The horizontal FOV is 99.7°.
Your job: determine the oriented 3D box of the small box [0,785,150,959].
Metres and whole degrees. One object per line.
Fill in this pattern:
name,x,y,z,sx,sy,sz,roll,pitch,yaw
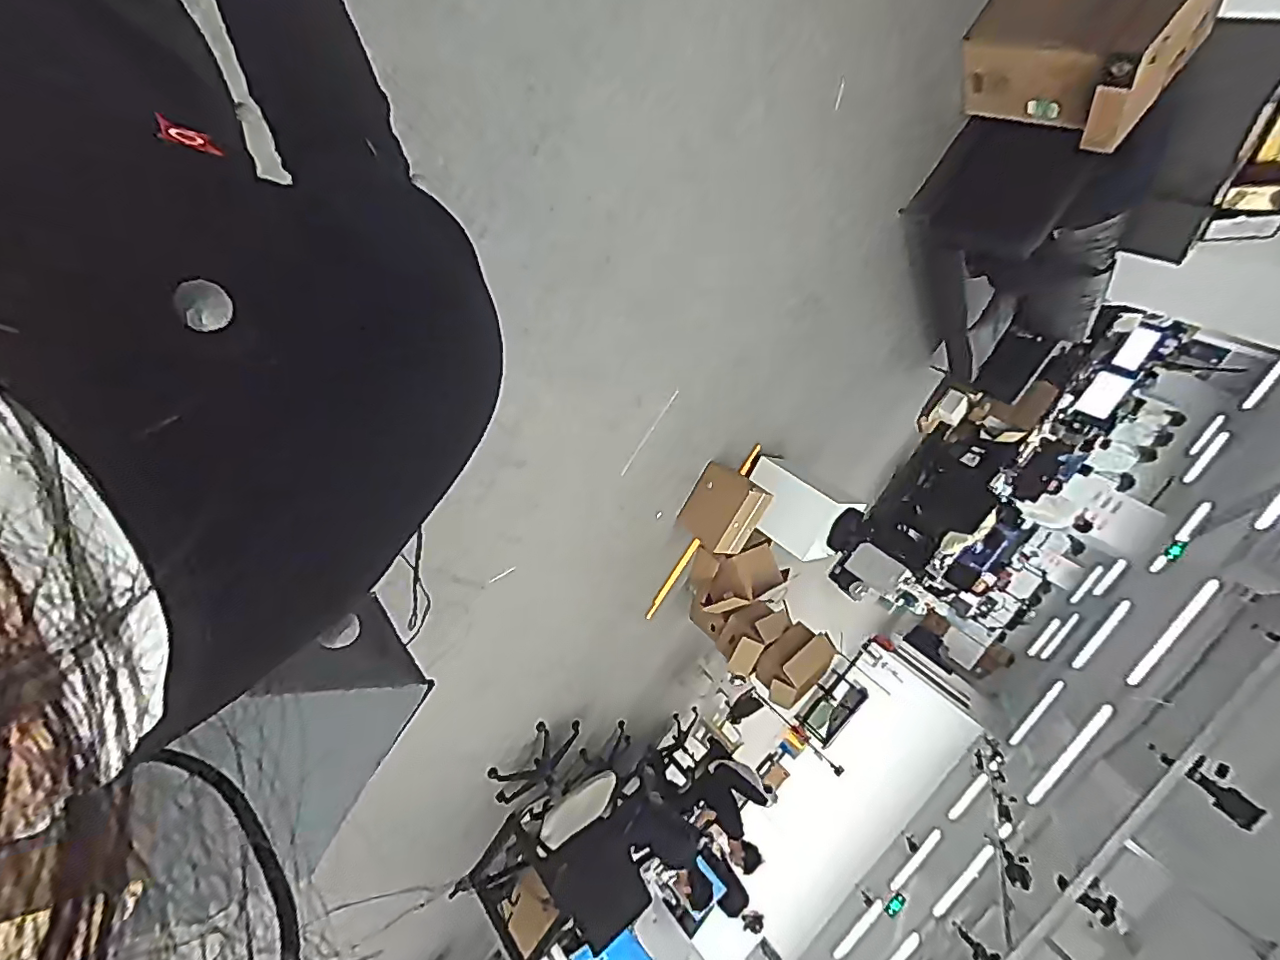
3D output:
small box,-0.834,0.570,0.753,0.179,0.176,0.168,-55,146,5
